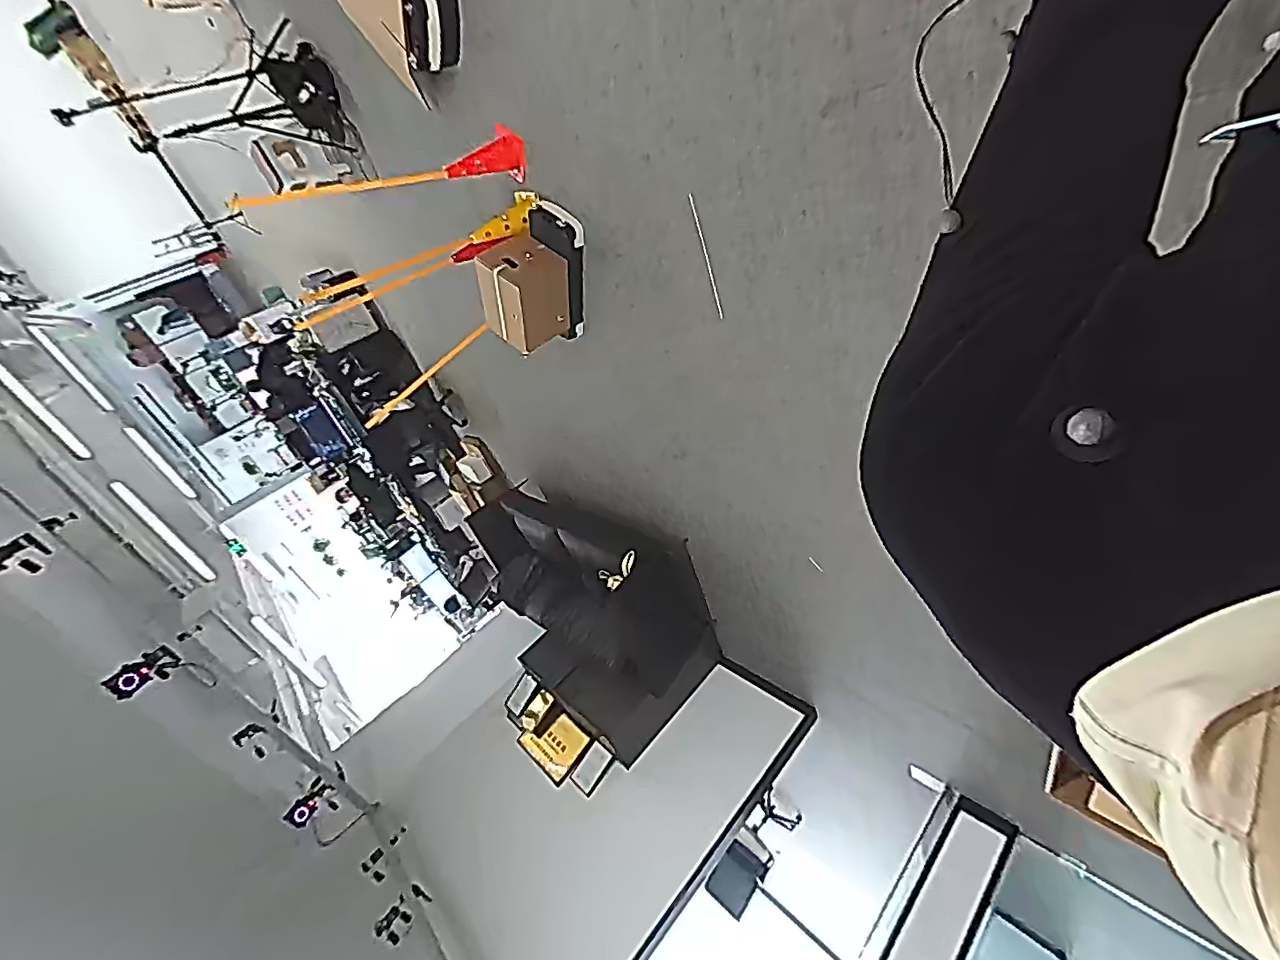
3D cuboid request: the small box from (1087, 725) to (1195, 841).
[{"bbox_3d":[1.342,0.806,1.450,0.168,0.176,0.179,21,141,45],"label":"small box"}]
